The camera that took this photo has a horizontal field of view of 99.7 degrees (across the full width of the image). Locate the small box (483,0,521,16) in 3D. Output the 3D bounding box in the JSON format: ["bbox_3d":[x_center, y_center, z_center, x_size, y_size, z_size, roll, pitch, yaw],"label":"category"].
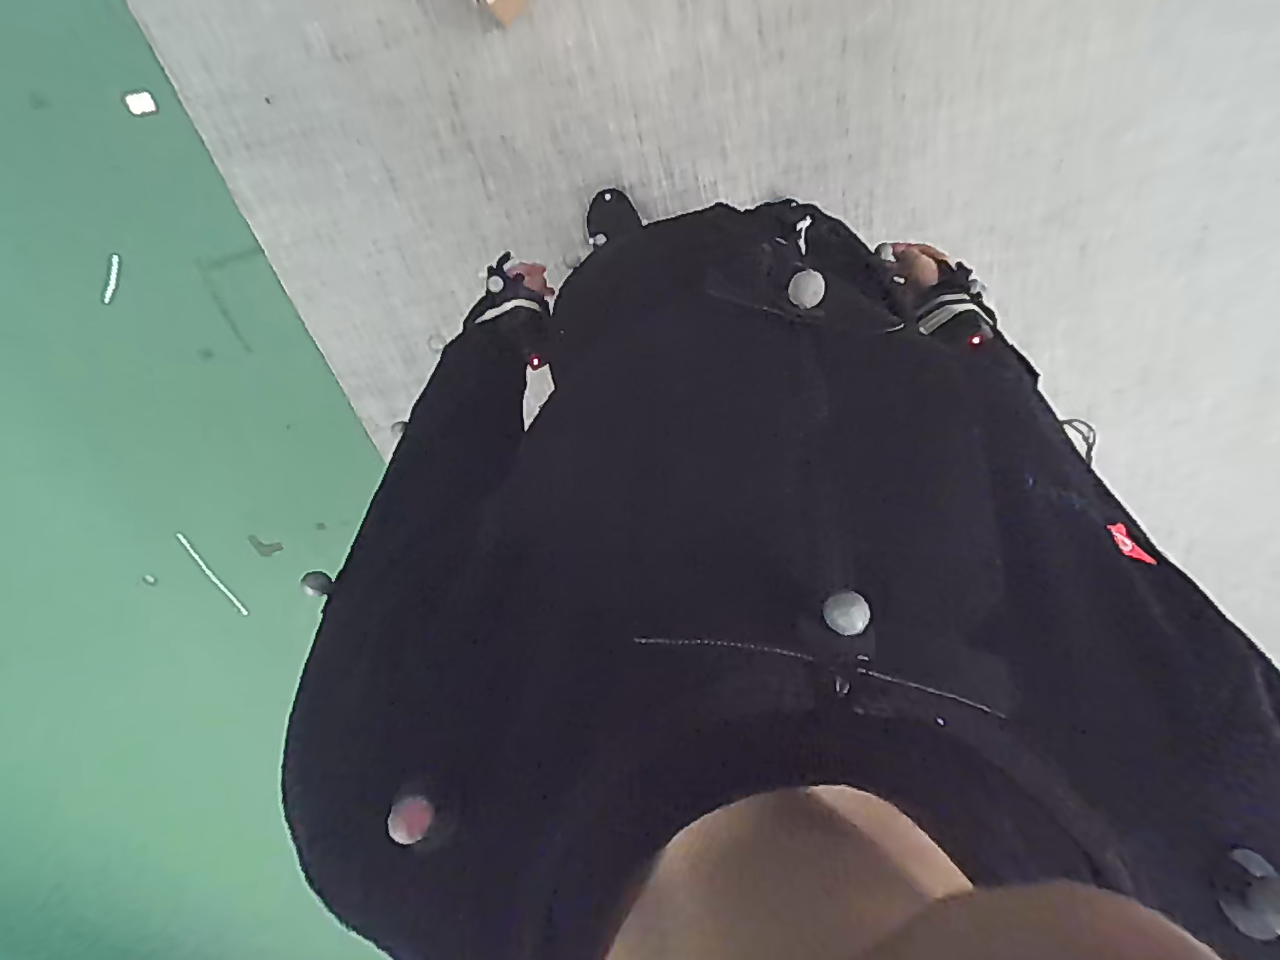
[{"bbox_3d":[-0.242,-0.883,0.848,0.179,0.176,0.168,38,111,-21],"label":"small box"}]
